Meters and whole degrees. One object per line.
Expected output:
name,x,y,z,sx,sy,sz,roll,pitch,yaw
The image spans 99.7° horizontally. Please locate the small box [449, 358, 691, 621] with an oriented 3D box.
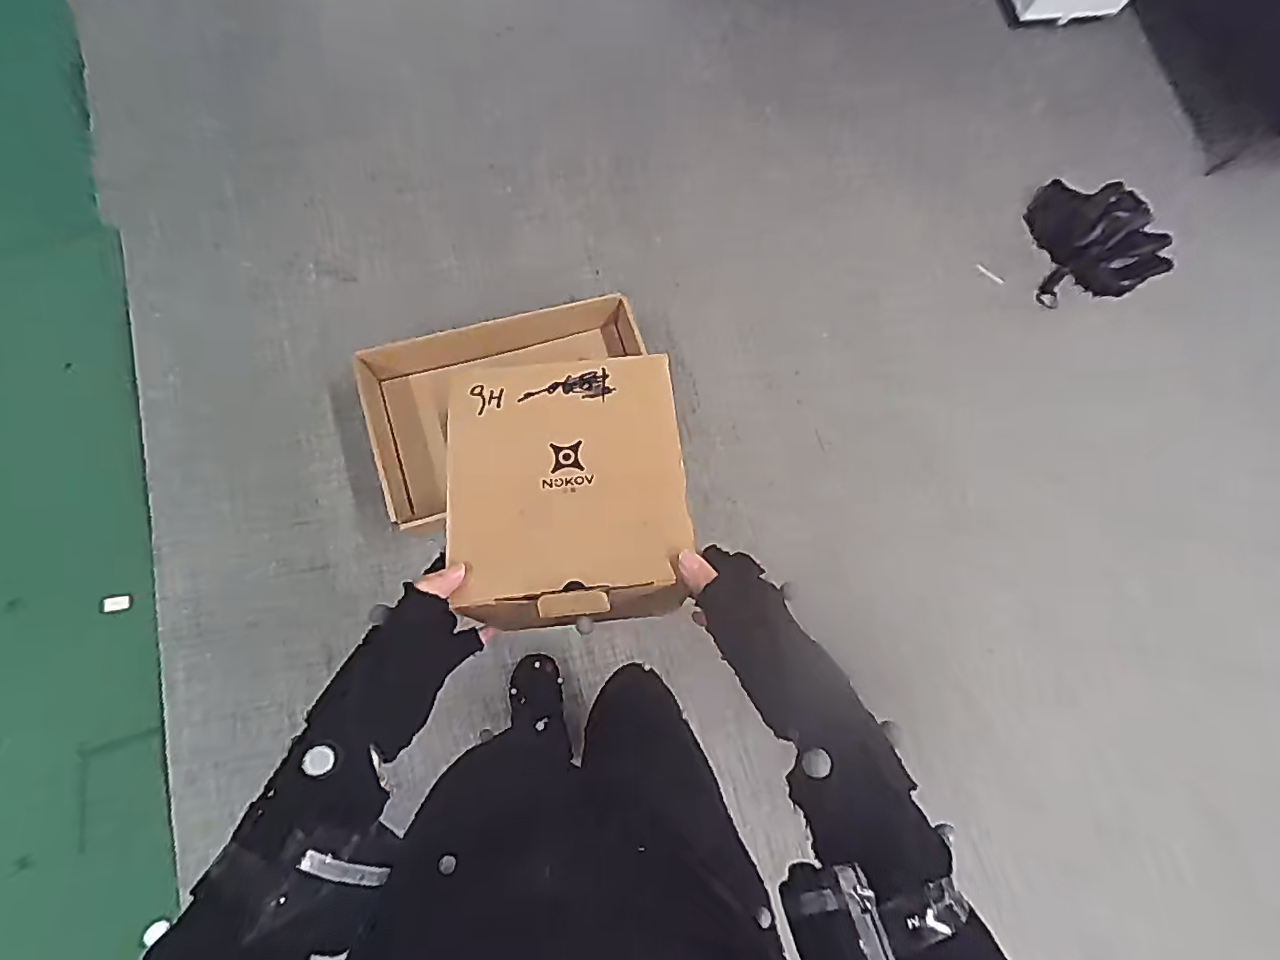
small box,-0.054,0.022,0.460,0.168,0.176,0.179,-6,70,-3
